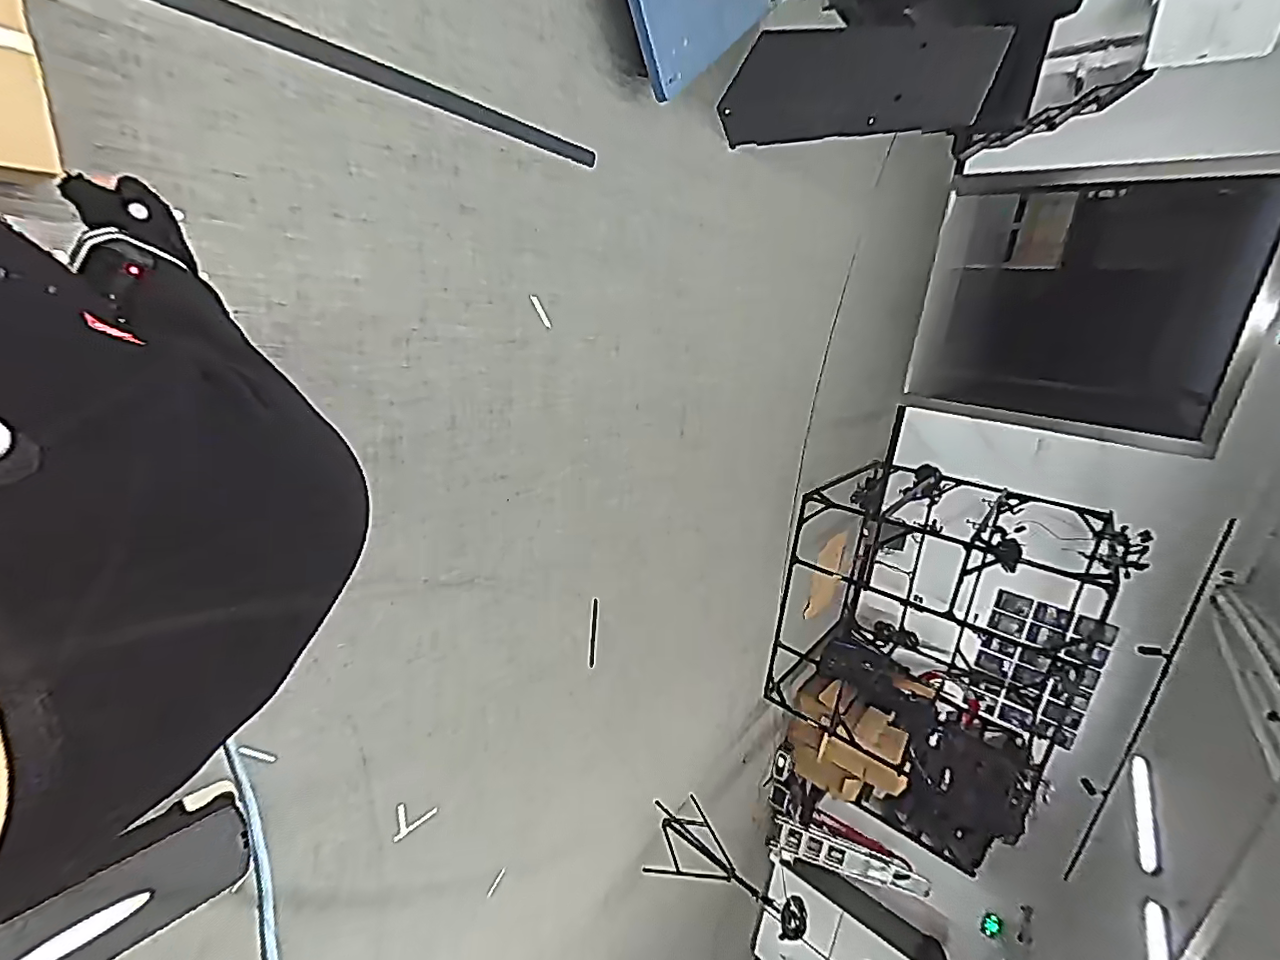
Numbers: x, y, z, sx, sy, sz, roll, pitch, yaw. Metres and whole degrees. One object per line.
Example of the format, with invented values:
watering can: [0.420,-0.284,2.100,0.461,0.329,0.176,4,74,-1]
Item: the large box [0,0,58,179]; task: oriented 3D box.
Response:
large box: [-1.067,-0.589,0.664,0.408,0.320,0.320,-19,120,-50]
